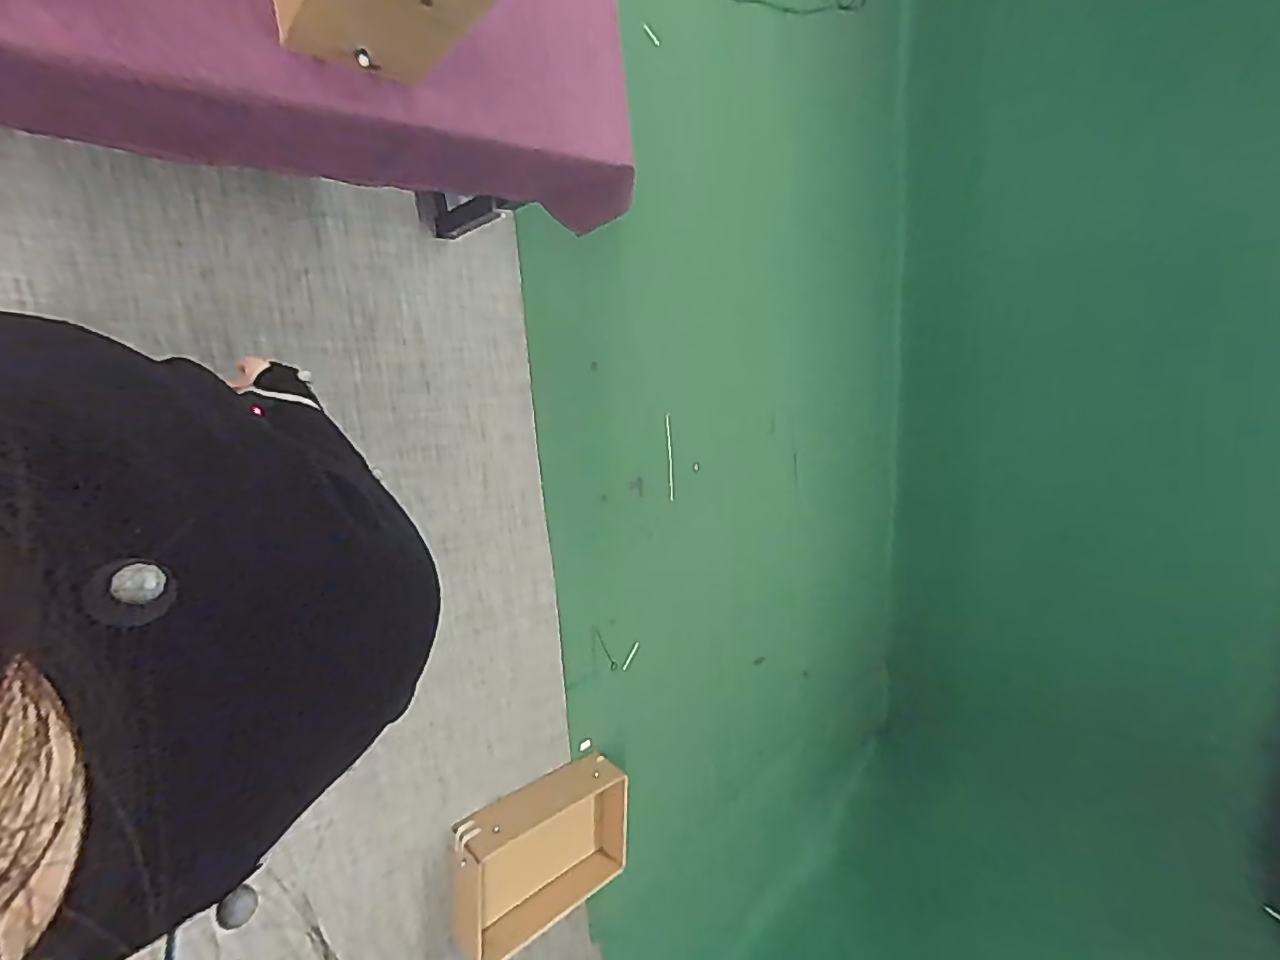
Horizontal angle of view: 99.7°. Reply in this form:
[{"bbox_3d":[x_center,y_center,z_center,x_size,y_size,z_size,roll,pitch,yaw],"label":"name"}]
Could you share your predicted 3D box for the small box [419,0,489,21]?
[{"bbox_3d":[-0.204,-0.591,0.506,0.168,0.176,0.179,-12,103,-43],"label":"small box"}]
